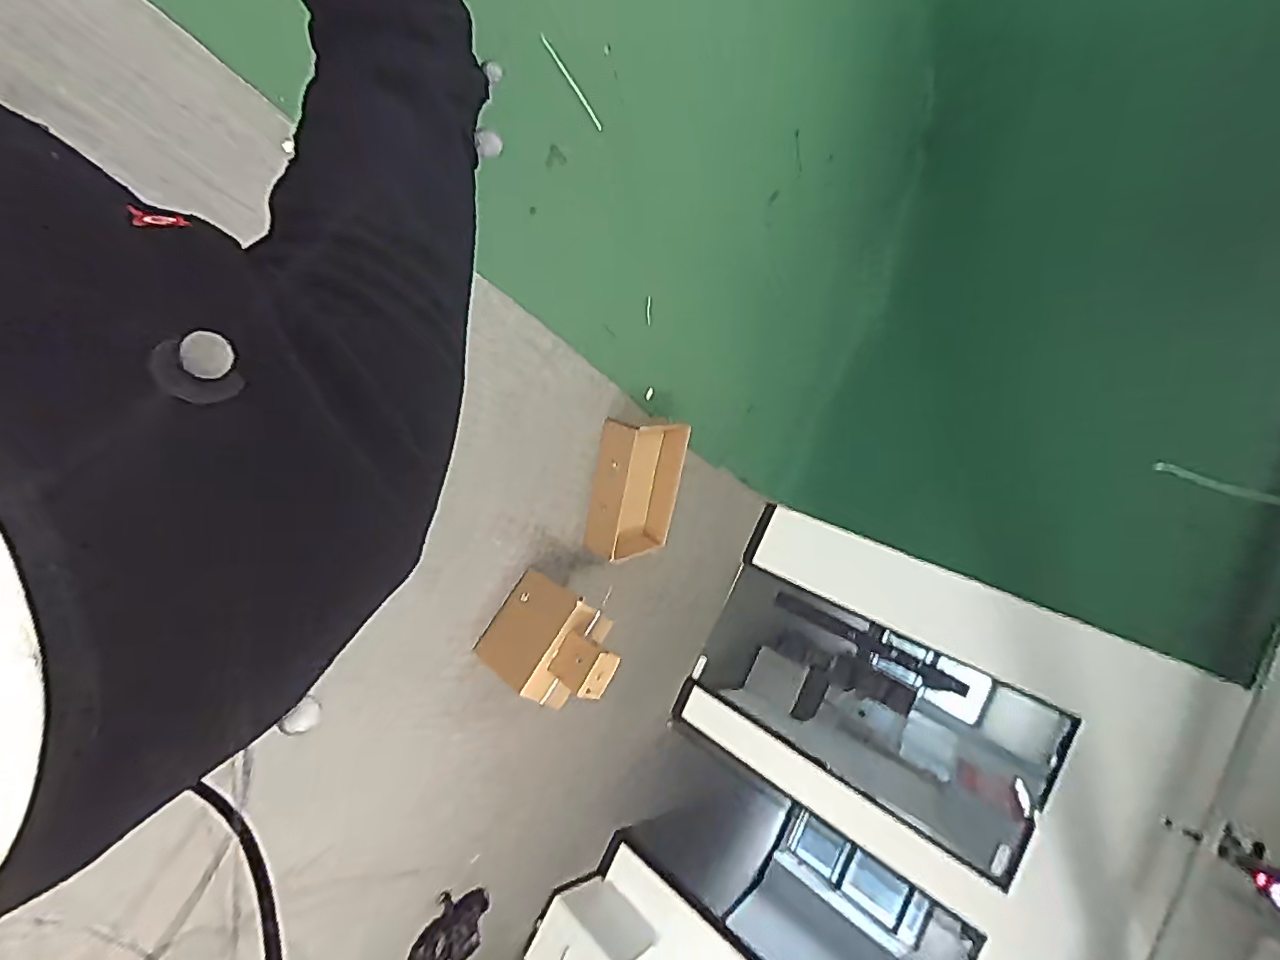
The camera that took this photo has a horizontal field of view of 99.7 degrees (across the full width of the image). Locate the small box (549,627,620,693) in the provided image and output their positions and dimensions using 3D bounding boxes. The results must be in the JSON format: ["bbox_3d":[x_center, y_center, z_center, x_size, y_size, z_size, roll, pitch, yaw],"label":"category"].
[{"bbox_3d":[-0.215,0.684,2.065,0.179,0.176,0.168,-61,144,-9],"label":"small box"}]
